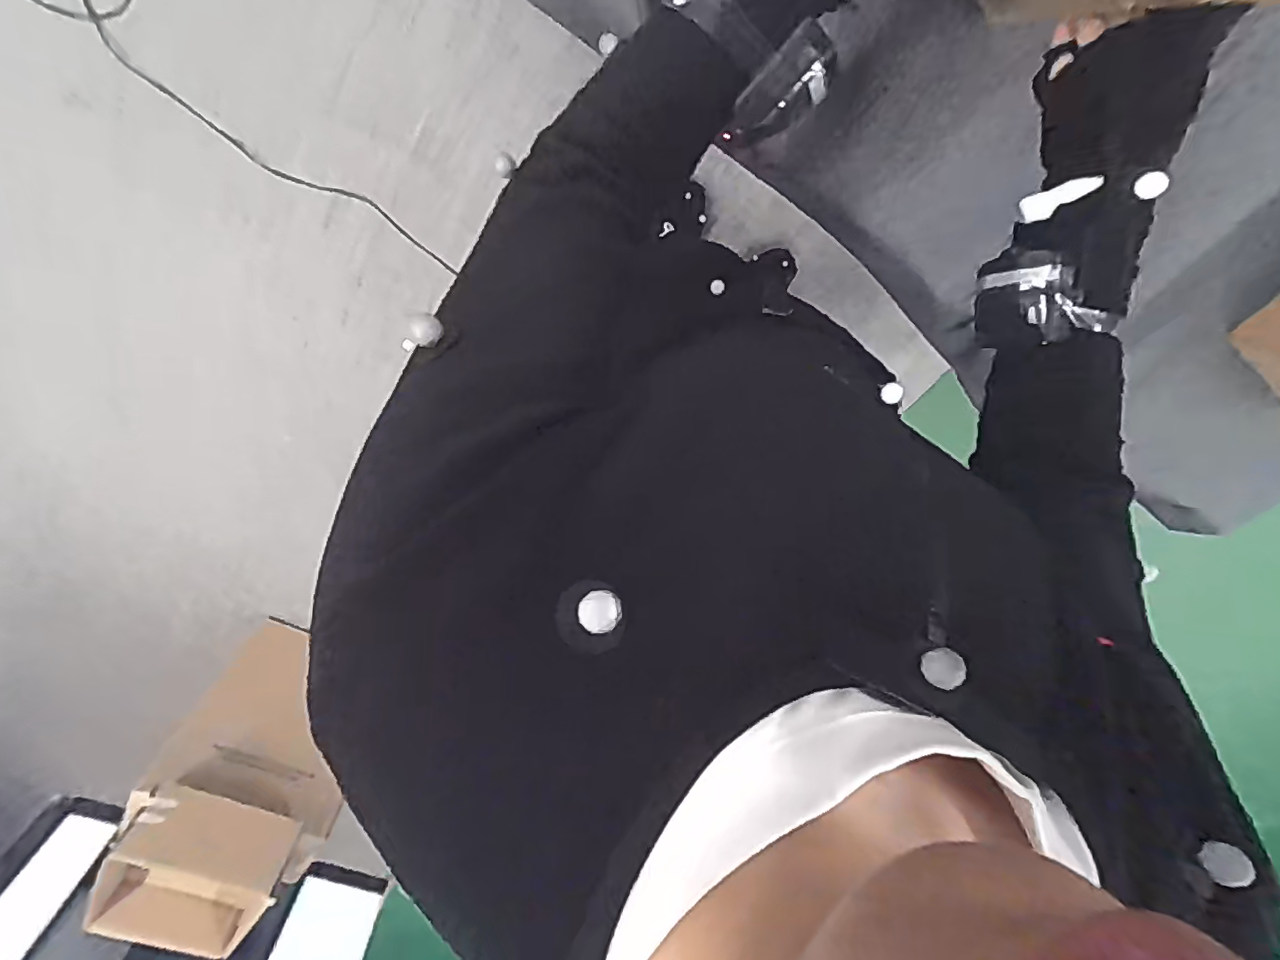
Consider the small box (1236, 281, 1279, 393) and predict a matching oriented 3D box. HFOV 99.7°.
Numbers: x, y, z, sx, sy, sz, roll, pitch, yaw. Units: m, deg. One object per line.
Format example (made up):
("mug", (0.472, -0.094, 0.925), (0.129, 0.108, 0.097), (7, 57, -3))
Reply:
("small box", (0.785, -0.152, 0.549), (0.168, 0.176, 0.179), (30, 120, -18))
